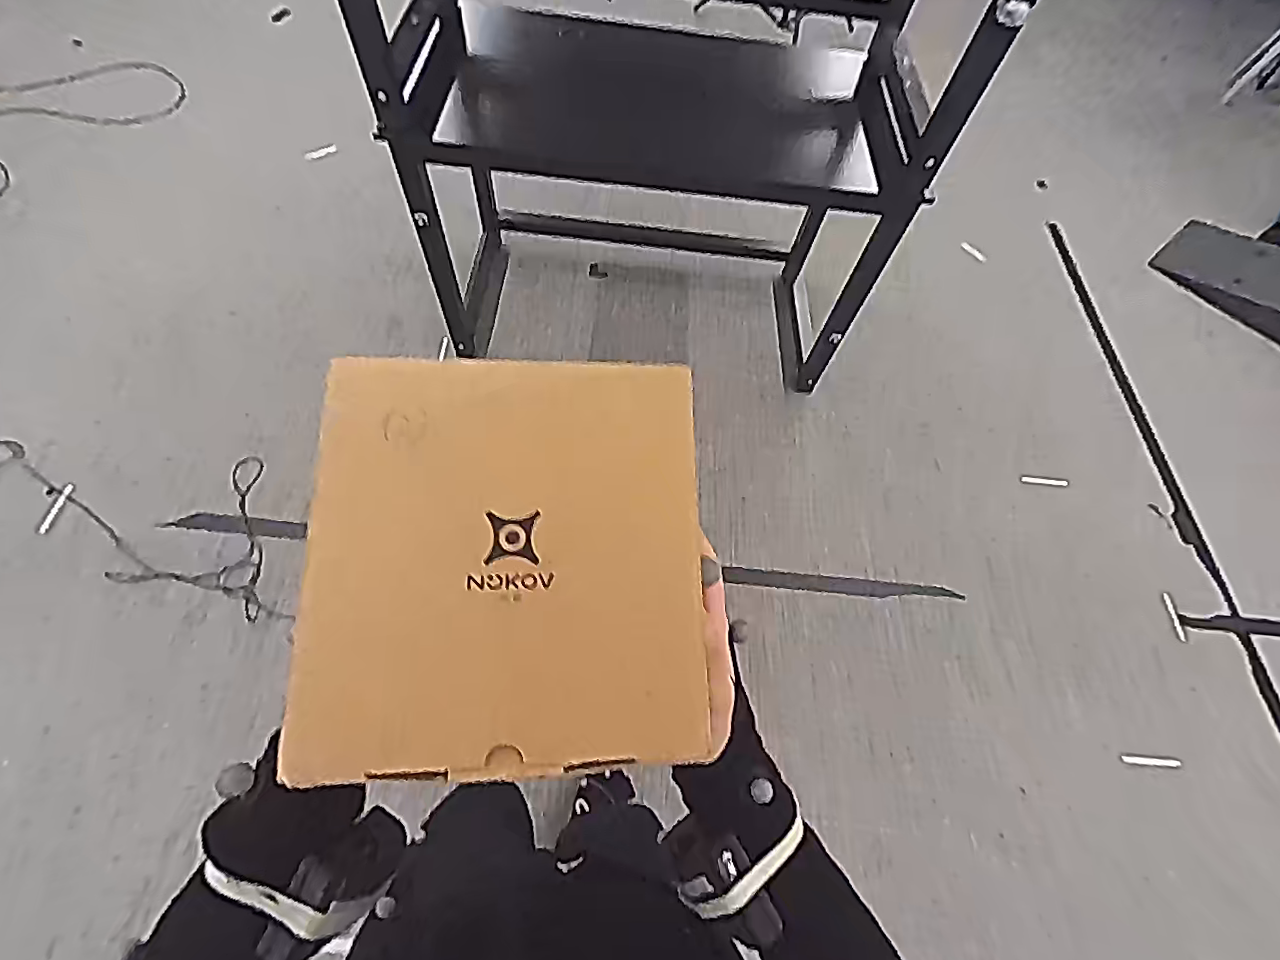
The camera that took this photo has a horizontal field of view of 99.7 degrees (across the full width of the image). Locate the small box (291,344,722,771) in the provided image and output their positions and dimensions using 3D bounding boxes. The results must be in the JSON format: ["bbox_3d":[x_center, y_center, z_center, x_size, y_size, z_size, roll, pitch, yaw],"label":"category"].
[{"bbox_3d":[-0.059,0.043,0.305,0.168,0.176,0.179,-1,76,-7],"label":"small box"}]
